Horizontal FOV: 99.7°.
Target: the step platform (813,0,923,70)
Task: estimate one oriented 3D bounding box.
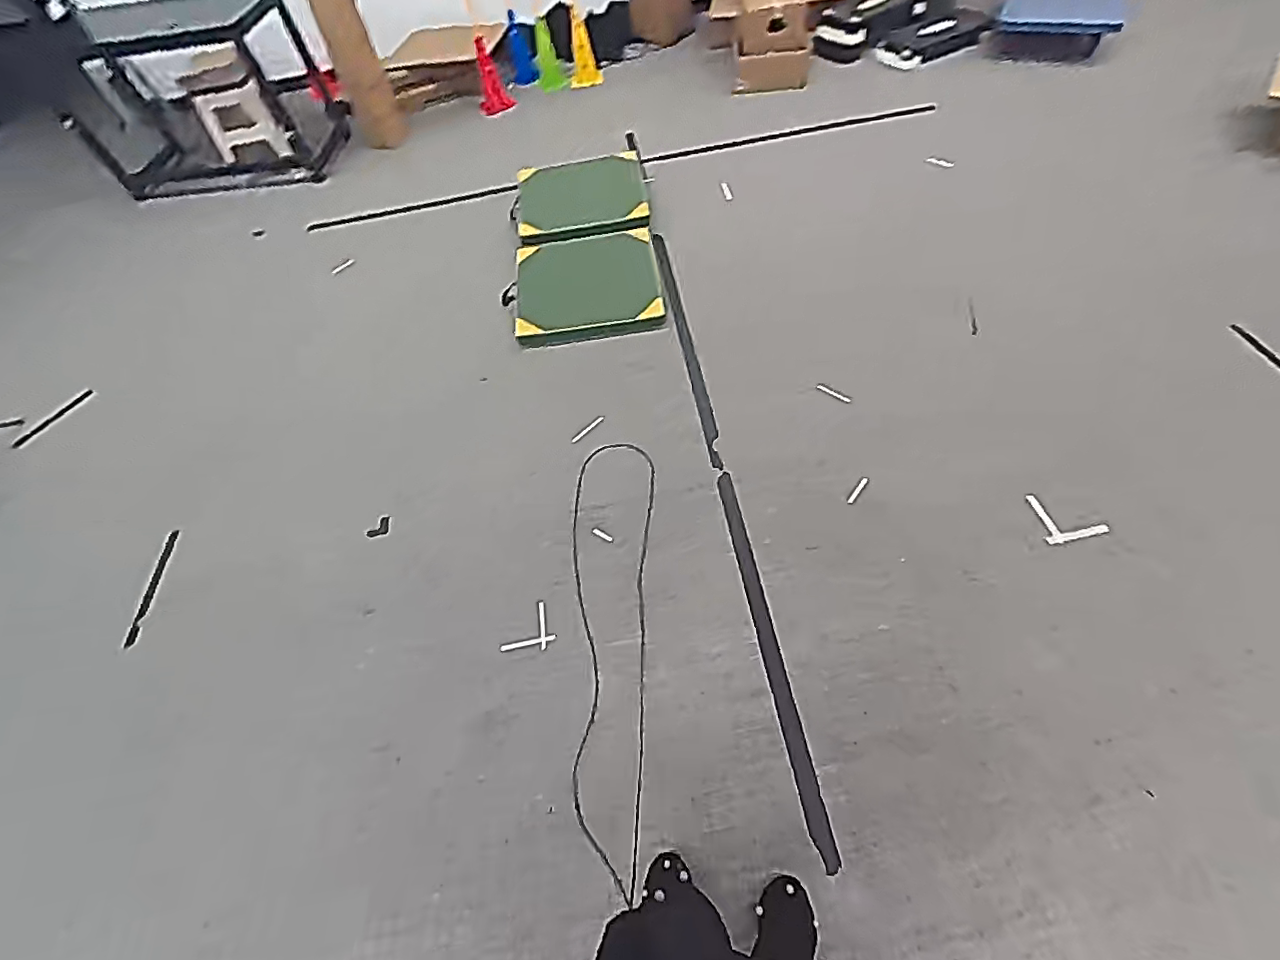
[{"bbox_3d":[1.393,-2.759,3.300,0.684,0.204,0.286,-35,60,-15],"label":"step platform"}]
